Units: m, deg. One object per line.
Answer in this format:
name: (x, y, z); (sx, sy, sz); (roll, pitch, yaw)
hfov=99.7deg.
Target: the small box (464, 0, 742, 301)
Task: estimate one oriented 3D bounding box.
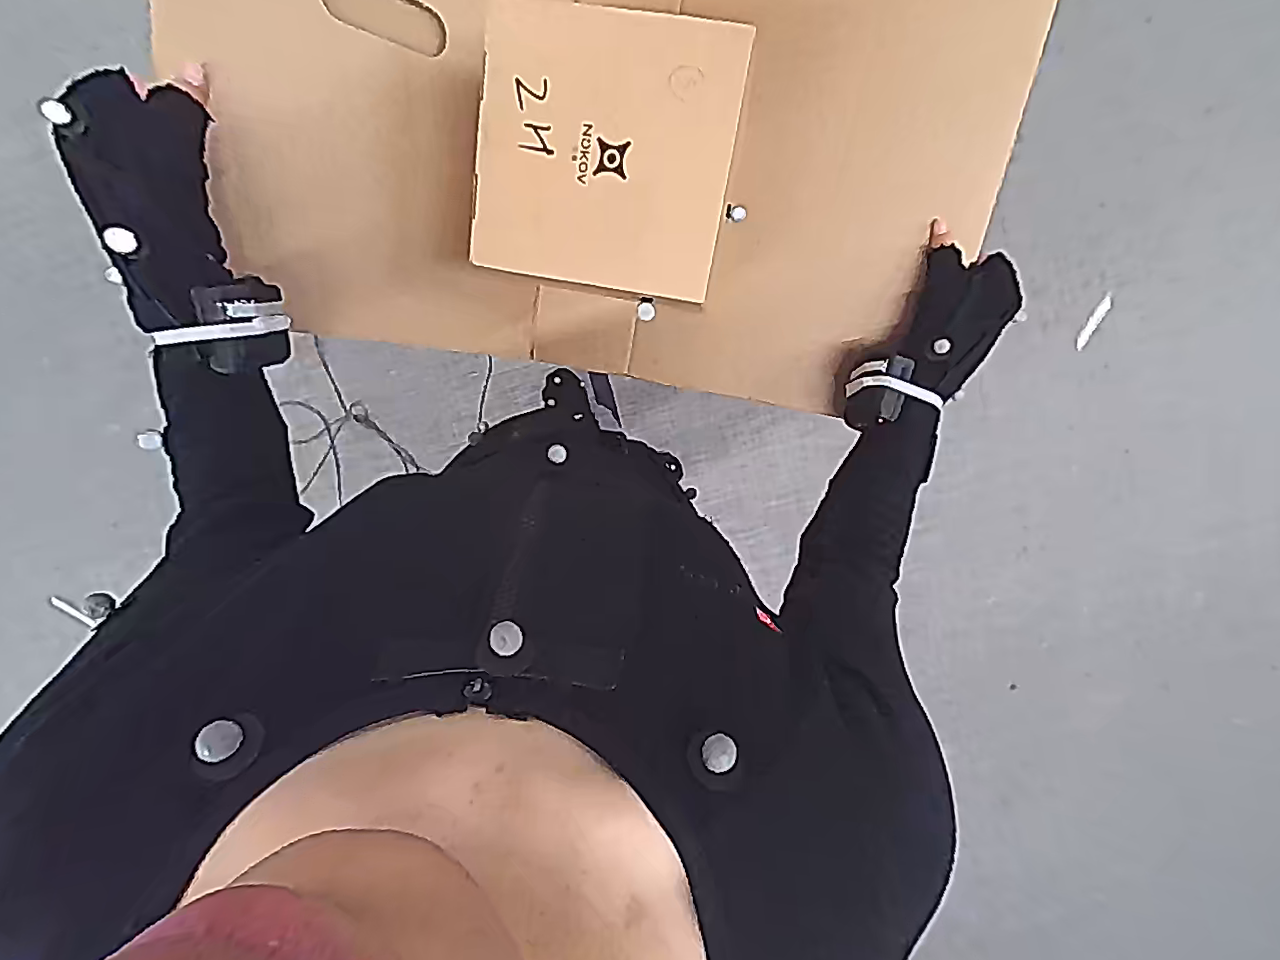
small box: (-0.022, -0.246, 0.445); (0.179, 0.176, 0.168); (11, 106, 6)
